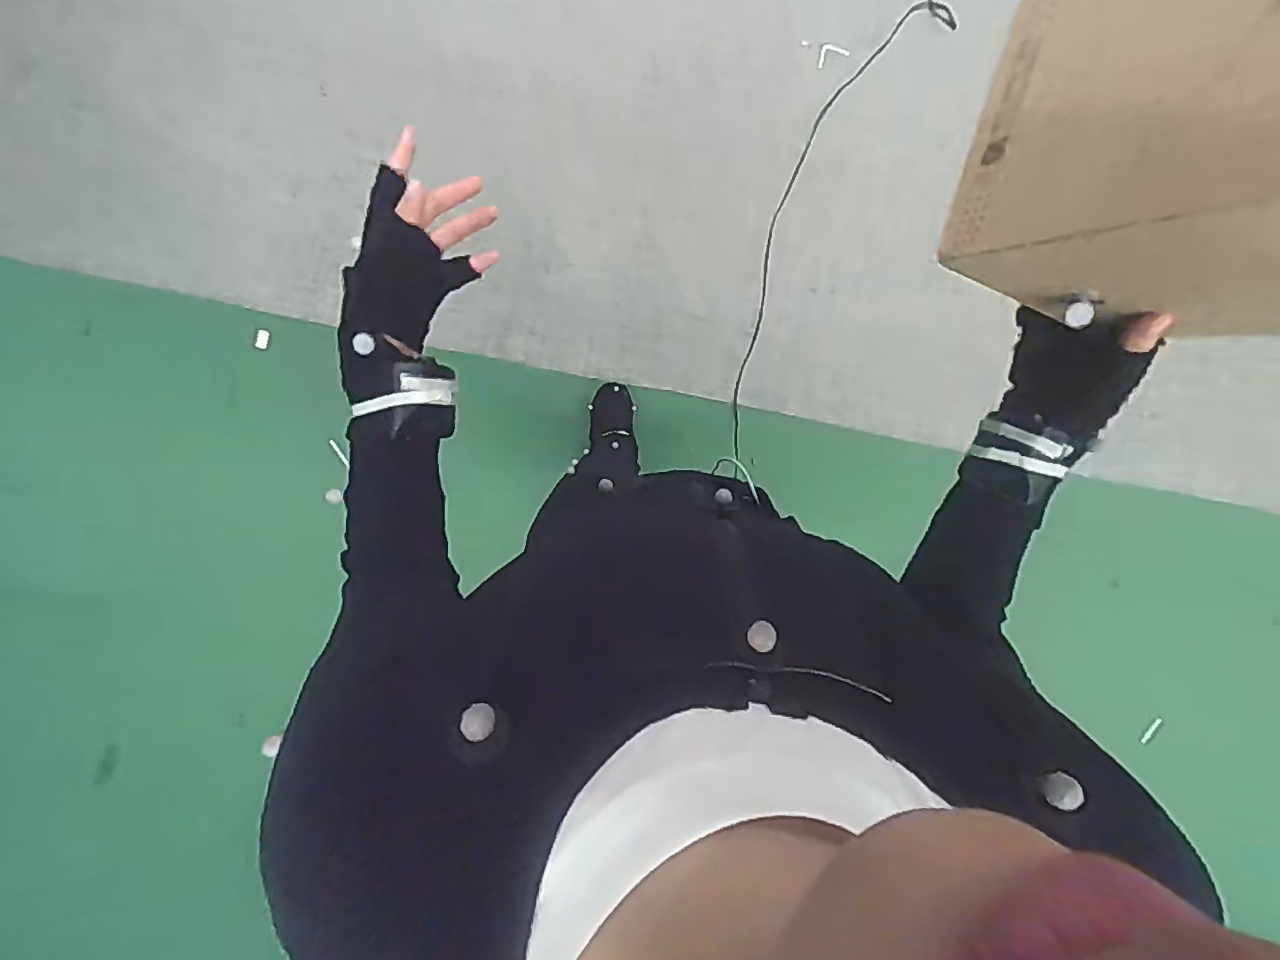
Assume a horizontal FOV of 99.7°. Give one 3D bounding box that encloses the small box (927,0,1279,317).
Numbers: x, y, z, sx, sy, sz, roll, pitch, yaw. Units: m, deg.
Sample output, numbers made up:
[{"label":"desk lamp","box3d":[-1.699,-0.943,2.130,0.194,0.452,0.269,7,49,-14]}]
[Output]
[{"label":"small box","box3d":[0.298,-0.190,0.282,0.179,0.176,0.168,11,99,-22]}]
